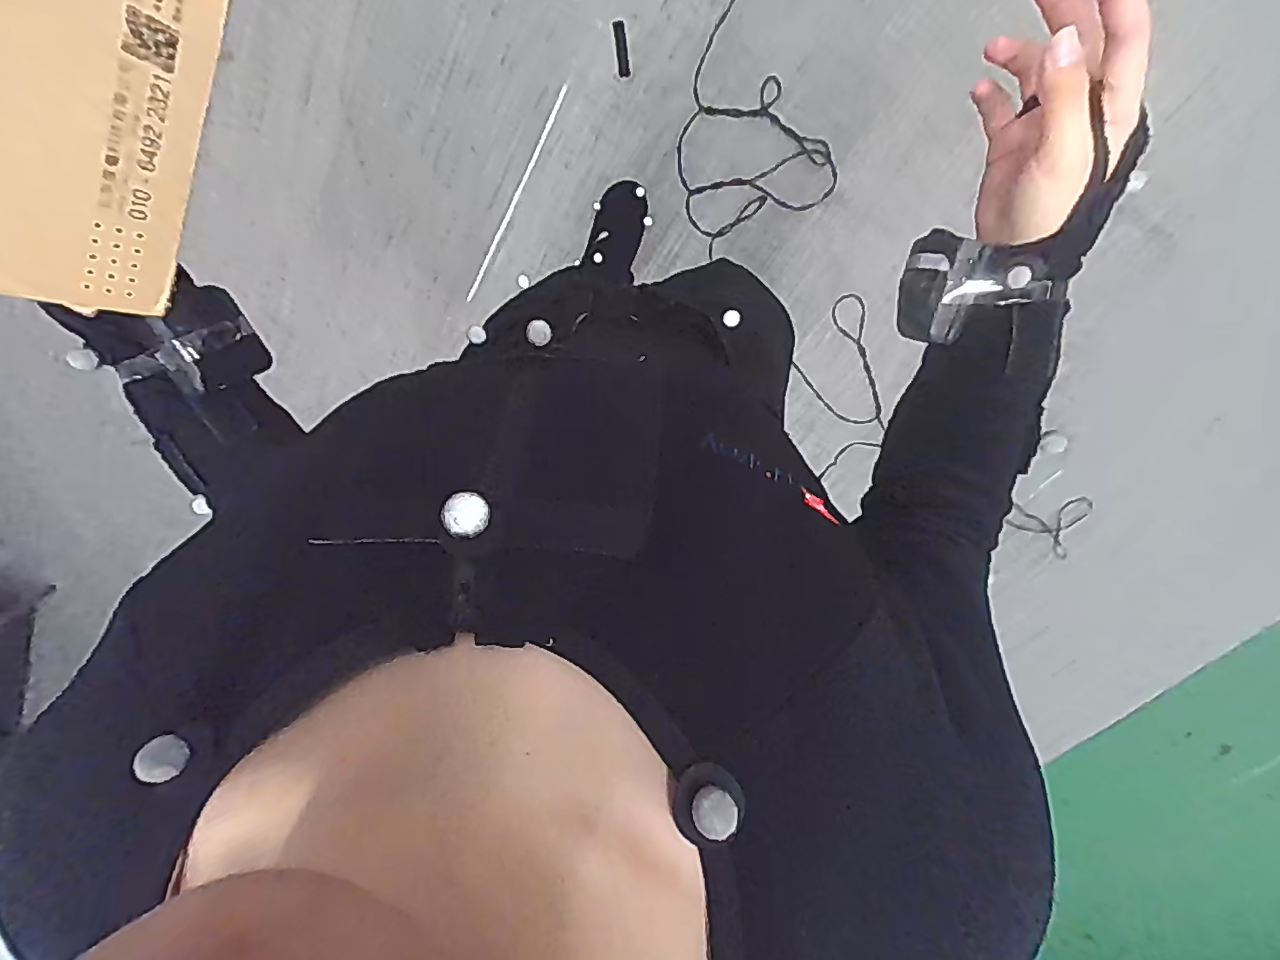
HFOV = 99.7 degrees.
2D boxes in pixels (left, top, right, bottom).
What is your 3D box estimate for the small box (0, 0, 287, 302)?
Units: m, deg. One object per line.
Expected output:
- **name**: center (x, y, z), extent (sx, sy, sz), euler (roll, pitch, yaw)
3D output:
- **small box**: center (-0.262, -0.179, 0.180), extent (0.179, 0.176, 0.168), euler (36, 111, 19)
